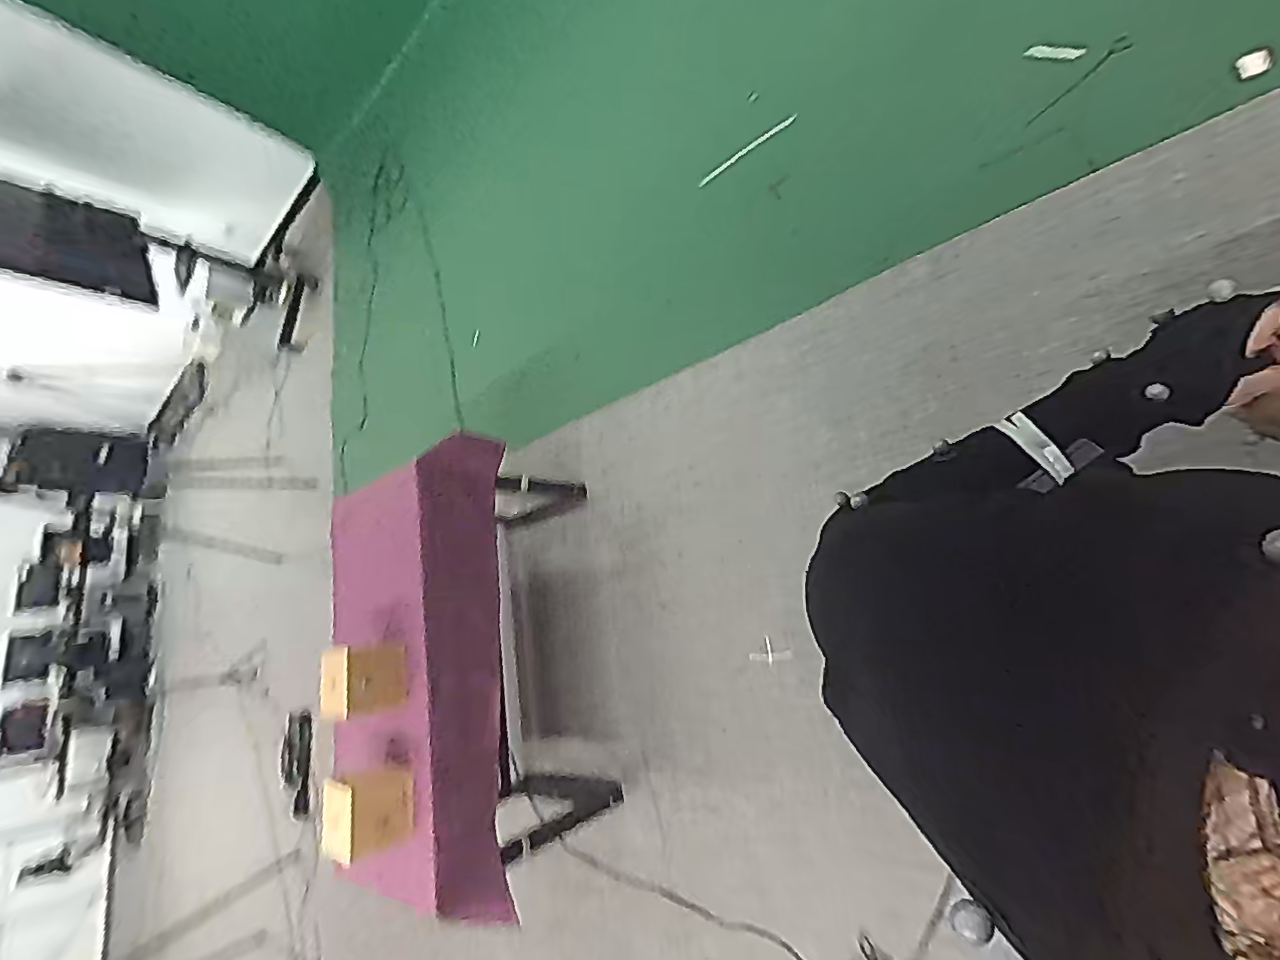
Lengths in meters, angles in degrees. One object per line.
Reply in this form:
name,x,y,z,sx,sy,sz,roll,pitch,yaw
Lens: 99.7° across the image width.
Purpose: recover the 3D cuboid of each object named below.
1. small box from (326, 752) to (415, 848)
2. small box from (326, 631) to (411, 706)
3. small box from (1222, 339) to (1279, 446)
small box,-0.724,0.851,1.460,0.179,0.176,0.168,-13,76,39
small box,-0.772,0.531,1.543,0.168,0.176,0.179,-15,74,38
small box,0.581,-0.077,0.385,0.168,0.176,0.179,45,121,29
